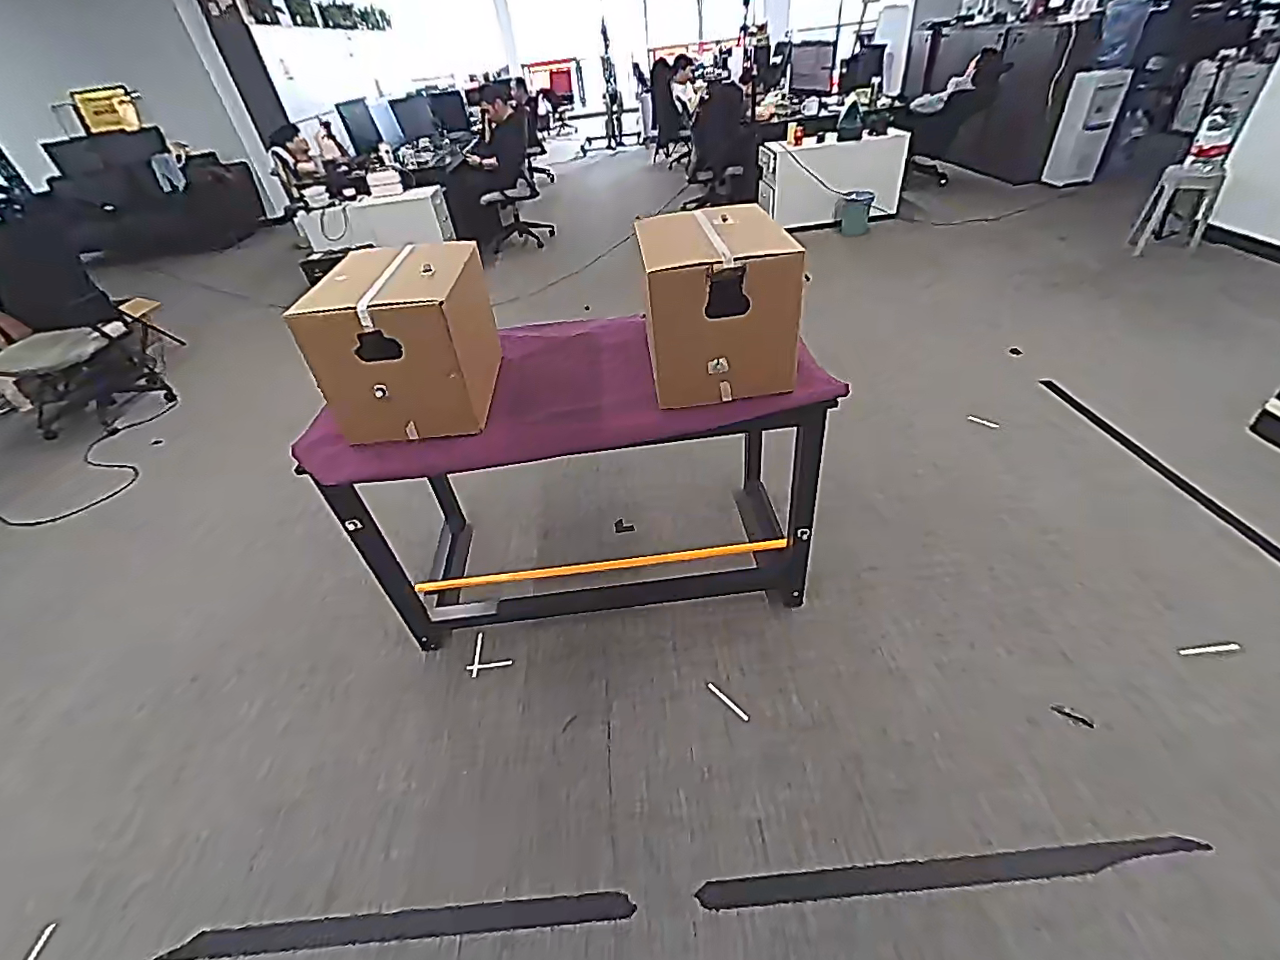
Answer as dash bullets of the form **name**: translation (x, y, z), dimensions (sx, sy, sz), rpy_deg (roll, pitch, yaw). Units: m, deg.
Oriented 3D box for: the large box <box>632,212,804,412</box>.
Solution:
- **large box**: translation (0.166, -0.407, 1.282), dimensions (0.320, 0.320, 0.408), rpy_deg (-7, 38, 0)
